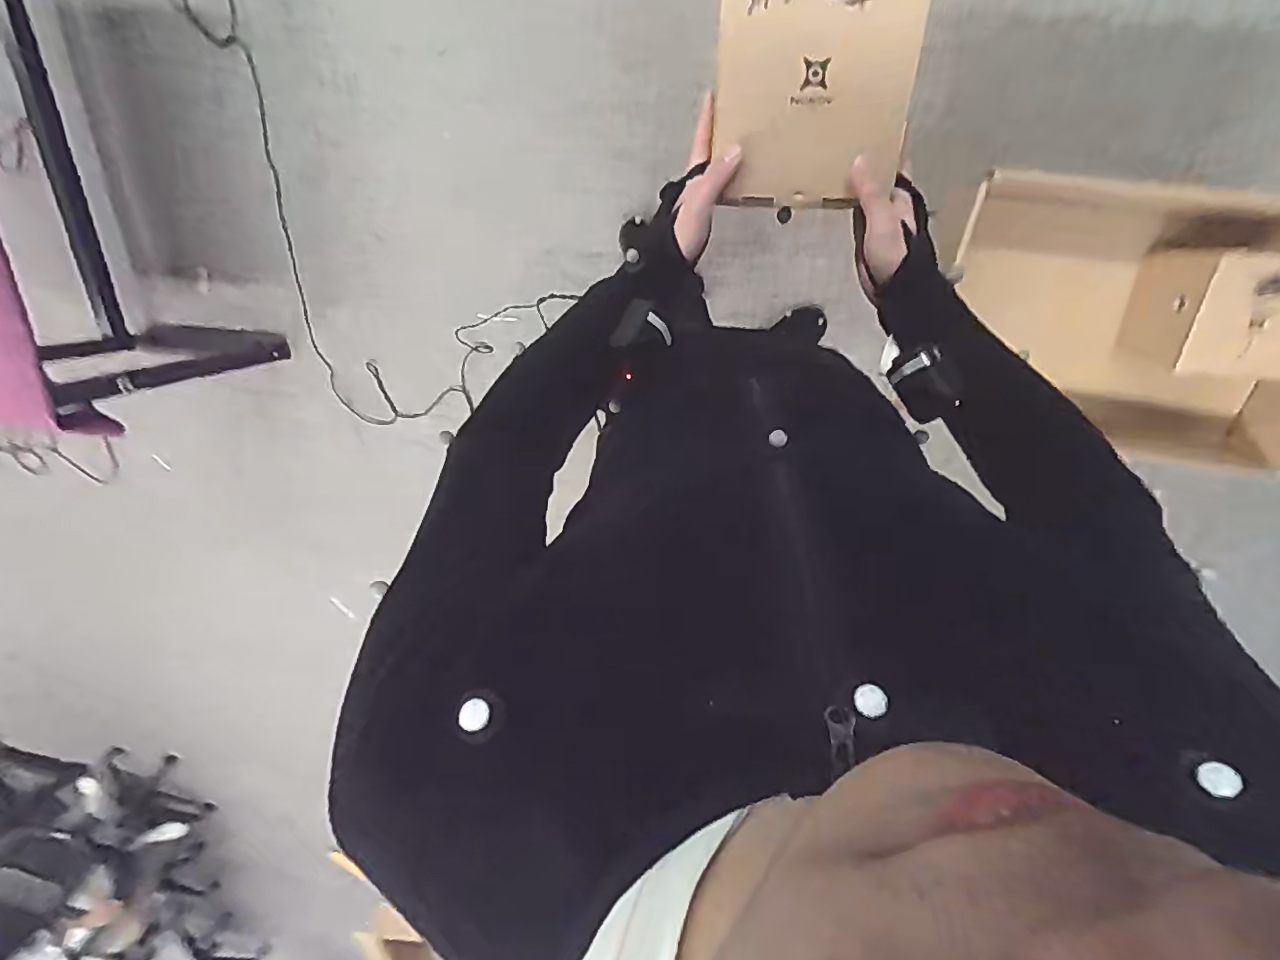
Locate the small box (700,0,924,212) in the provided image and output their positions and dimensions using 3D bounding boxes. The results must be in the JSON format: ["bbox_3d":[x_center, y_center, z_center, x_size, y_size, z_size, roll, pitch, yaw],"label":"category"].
[{"bbox_3d":[0.151,-0.362,0.528,0.168,0.176,0.179,4,117,7],"label":"small box"}]
